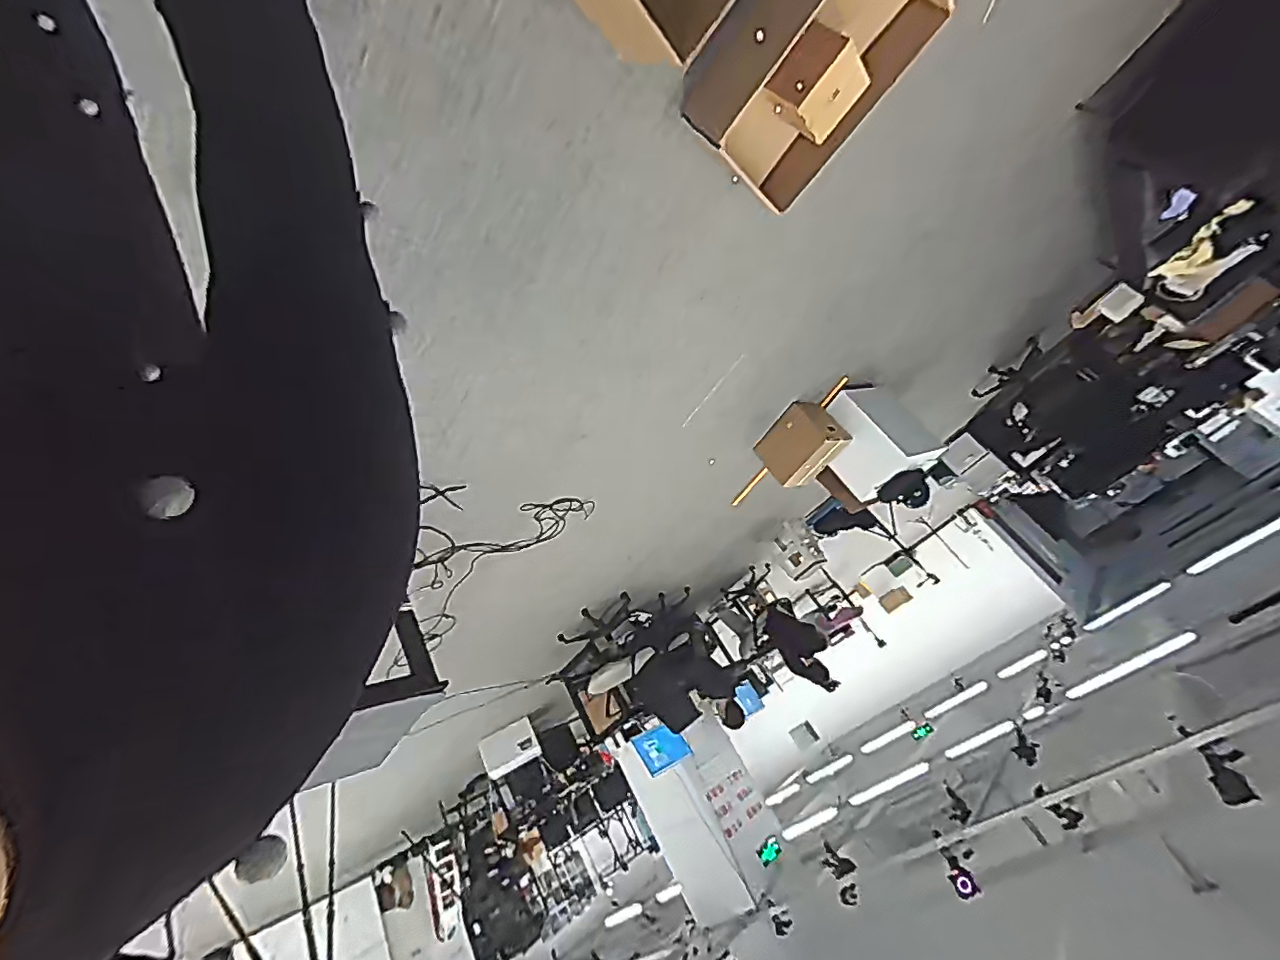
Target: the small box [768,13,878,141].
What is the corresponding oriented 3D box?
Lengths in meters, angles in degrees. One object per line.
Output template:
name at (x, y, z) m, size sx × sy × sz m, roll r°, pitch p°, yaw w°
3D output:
small box at (0.461, -1.022, 1.372) m, size 0.179 × 0.176 × 0.168 m, roll -47°, pitch 151°, yaw 26°
